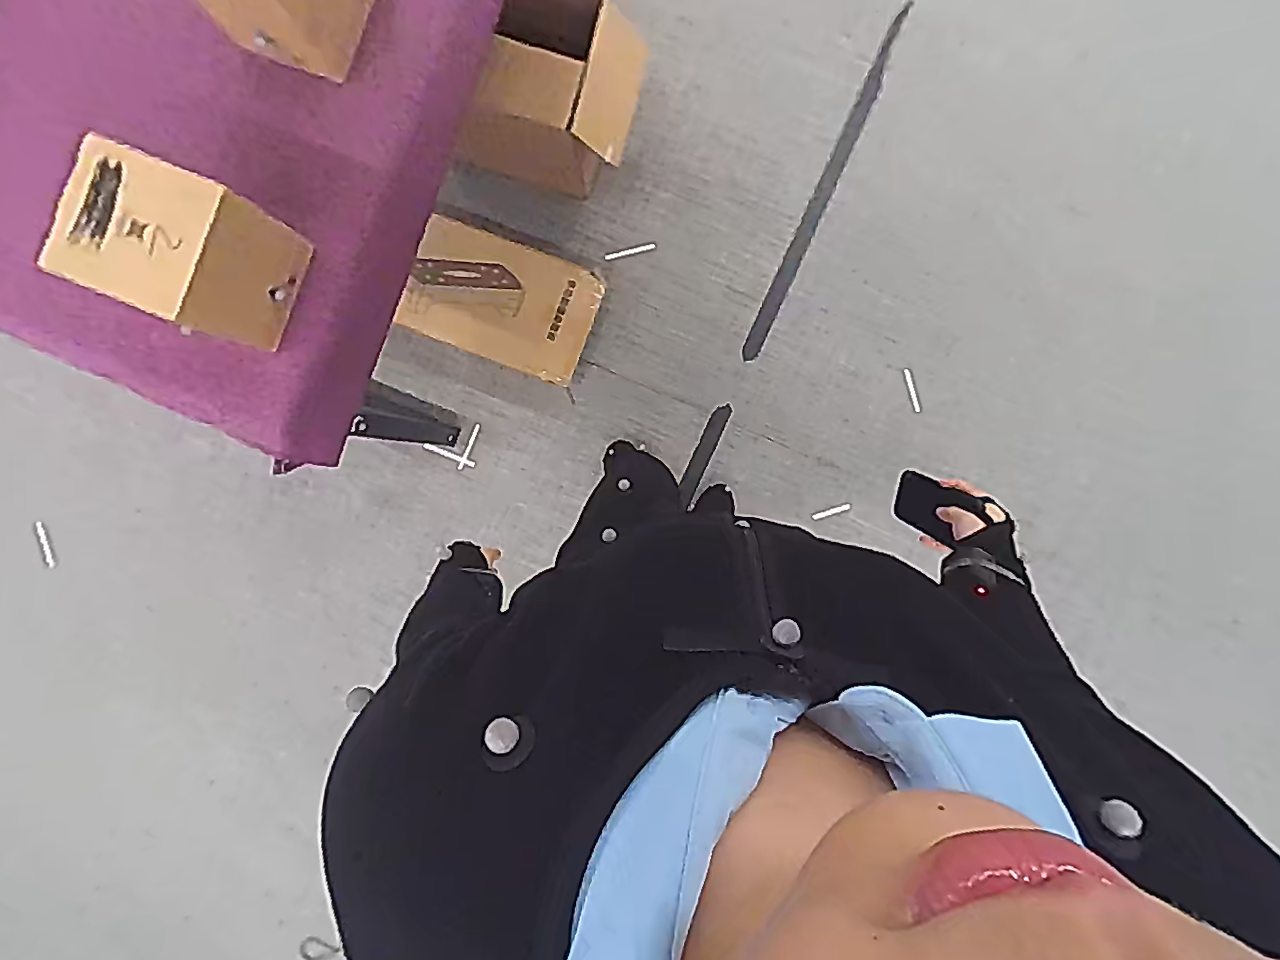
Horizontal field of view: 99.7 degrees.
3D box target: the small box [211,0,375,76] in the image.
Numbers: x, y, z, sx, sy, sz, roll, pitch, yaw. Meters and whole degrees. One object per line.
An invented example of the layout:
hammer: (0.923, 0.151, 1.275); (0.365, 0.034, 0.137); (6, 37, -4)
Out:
small box: (-0.457, -0.669, 0.676); (0.168, 0.176, 0.179); (22, 92, 3)
